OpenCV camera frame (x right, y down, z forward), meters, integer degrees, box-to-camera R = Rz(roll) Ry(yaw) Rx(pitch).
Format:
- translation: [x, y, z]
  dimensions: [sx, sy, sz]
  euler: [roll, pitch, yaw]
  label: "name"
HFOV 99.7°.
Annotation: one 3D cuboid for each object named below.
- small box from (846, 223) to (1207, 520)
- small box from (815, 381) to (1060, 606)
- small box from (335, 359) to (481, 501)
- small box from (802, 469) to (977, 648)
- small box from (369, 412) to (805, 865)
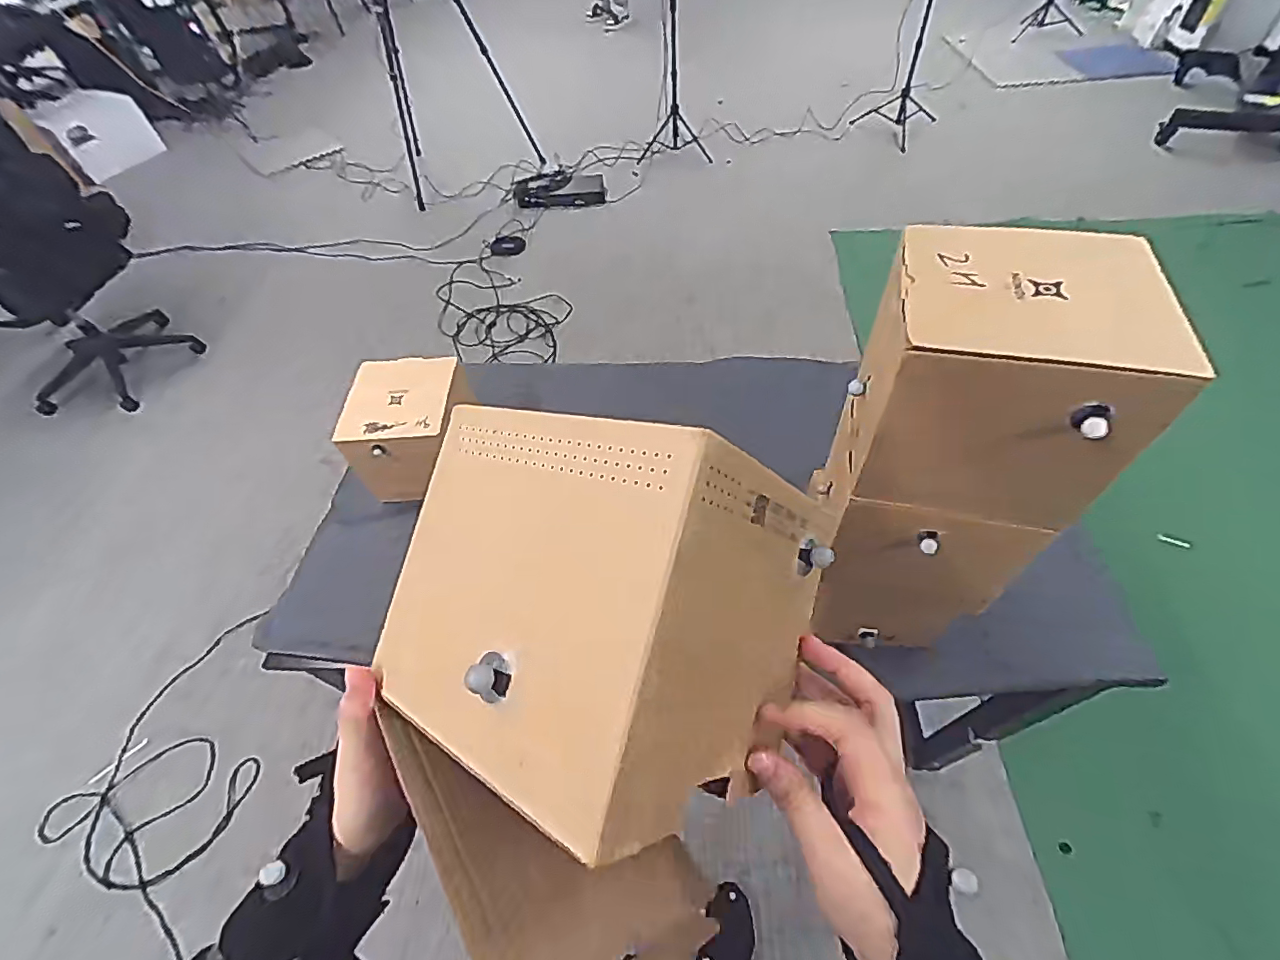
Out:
- translation: [0.284, -0.085, 0.449]
  dimensions: [0.179, 0.176, 0.168]
  euler: [10, 54, 14]
  label: "small box"
- translation: [0.295, 0.017, 0.577]
  dimensions: [0.179, 0.176, 0.168]
  euler: [8, 53, 13]
  label: "small box"
- translation: [-0.372, -0.083, 0.919]
  dimensions: [0.168, 0.176, 0.179]
  euler: [-3, 54, 2]
  label: "small box"
- translation: [0.309, 0.104, 0.715]
  dimensions: [0.168, 0.176, 0.179]
  euler: [0, 53, 6]
  label: "small box"
- translation: [-0.019, 0.066, 0.315]
  dimensions: [0.179, 0.168, 0.176]
  euler: [11, 82, 39]
  label: "small box"
